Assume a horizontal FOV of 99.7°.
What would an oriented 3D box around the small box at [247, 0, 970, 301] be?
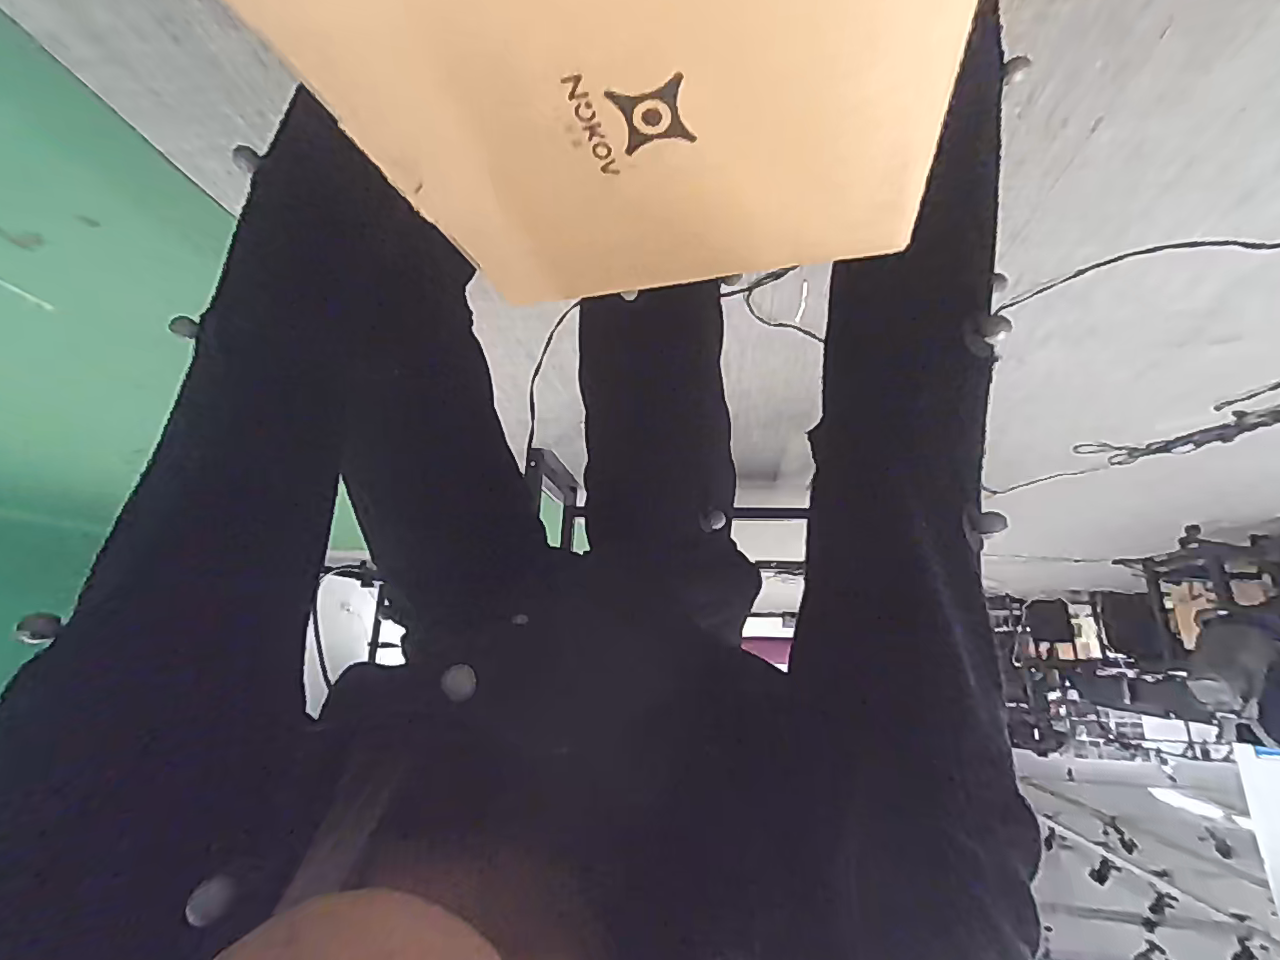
[{"bbox_3d":[0.002,-0.190,0.183,0.179,0.176,0.168,-3,165,16],"label":"small box"}]
